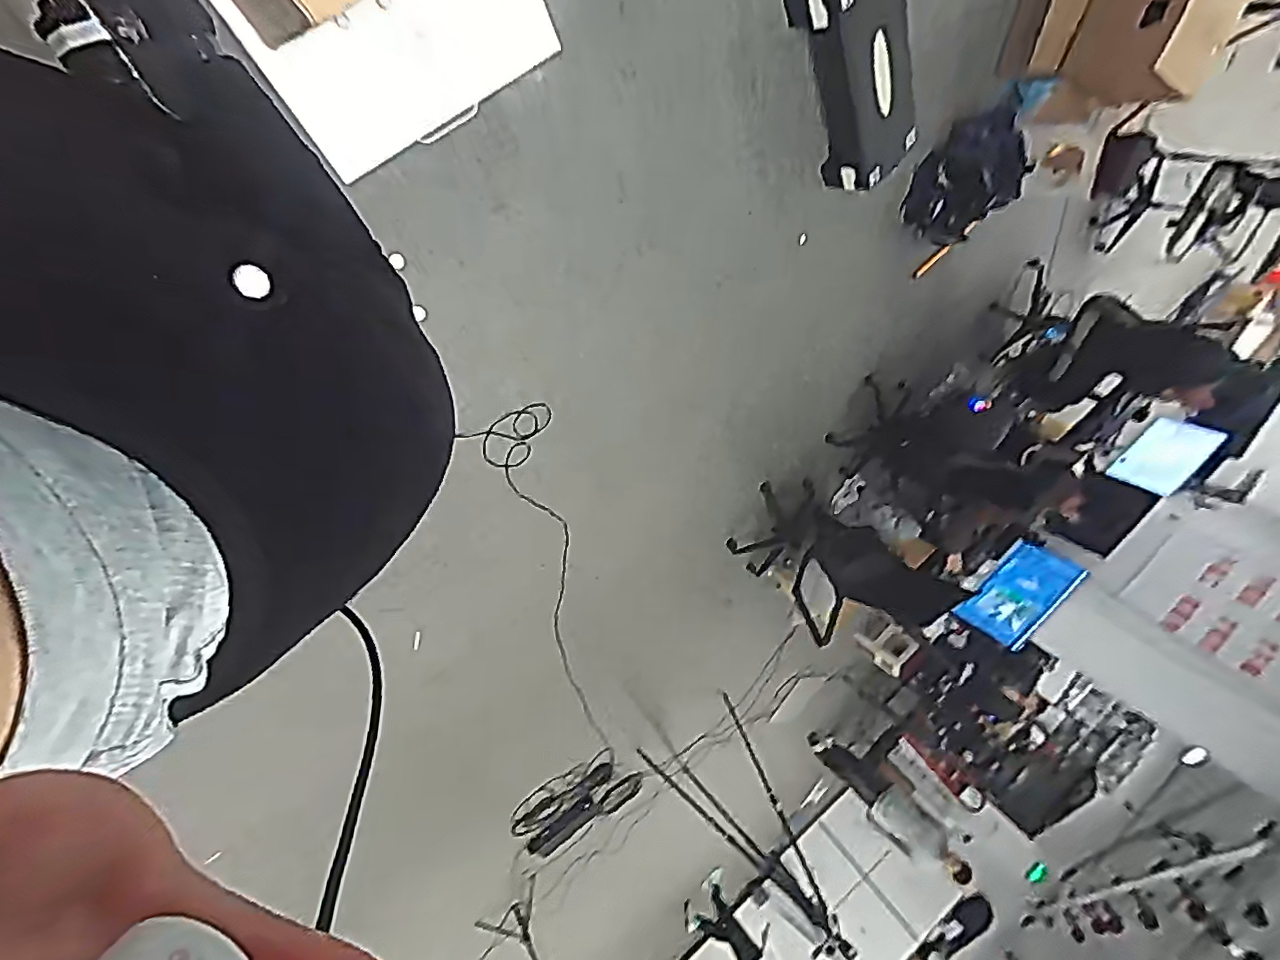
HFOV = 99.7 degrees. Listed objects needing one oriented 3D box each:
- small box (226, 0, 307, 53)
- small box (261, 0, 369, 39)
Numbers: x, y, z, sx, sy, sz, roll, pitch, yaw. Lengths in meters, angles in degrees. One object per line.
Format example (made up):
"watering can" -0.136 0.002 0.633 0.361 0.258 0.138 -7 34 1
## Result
"small box" -0.374 -0.588 0.564 0.179 0.176 0.168 -45 137 -9
"small box" -0.279 -0.511 0.454 0.179 0.176 0.168 -44 138 -9
